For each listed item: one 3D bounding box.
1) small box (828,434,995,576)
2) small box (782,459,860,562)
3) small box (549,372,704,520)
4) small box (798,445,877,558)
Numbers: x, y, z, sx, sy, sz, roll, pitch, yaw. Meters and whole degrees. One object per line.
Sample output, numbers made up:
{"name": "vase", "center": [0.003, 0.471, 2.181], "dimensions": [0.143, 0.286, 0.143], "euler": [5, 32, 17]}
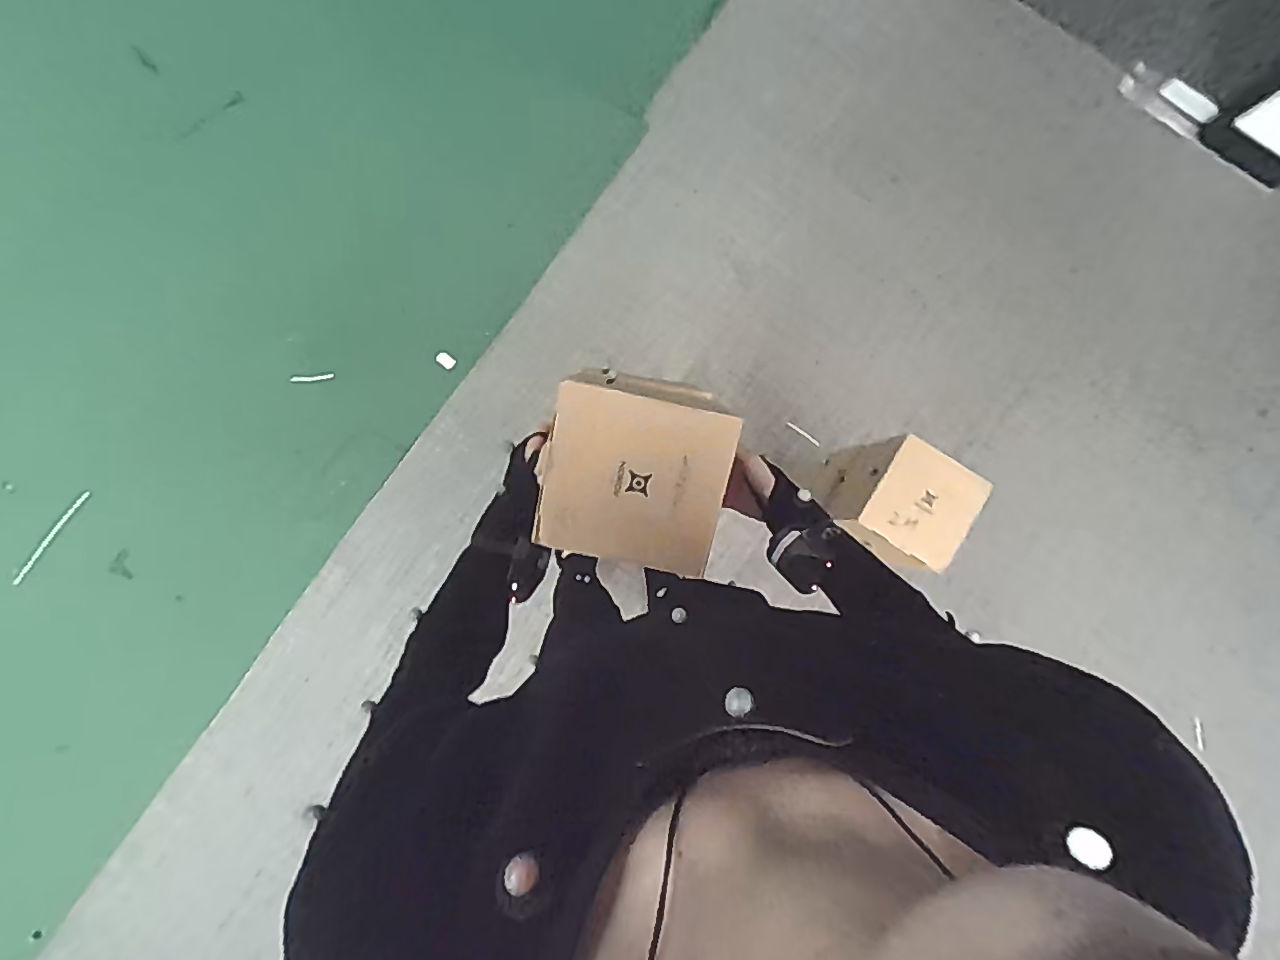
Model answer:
{"name": "small box", "center": [0.463, 0.044, 0.952], "dimensions": [0.168, 0.176, 0.179], "euler": [33, 87, 1]}
{"name": "small box", "center": [0.457, 0.071, 1.280], "dimensions": [0.168, 0.176, 0.179], "euler": [34, 87, 1]}
{"name": "small box", "center": [-0.019, -0.055, 0.743], "dimensions": [0.179, 0.176, 0.168], "euler": [7, 102, -2]}
{"name": "small box", "center": [0.457, 0.052, 1.116], "dimensions": [0.179, 0.176, 0.168], "euler": [34, 86, 0]}
